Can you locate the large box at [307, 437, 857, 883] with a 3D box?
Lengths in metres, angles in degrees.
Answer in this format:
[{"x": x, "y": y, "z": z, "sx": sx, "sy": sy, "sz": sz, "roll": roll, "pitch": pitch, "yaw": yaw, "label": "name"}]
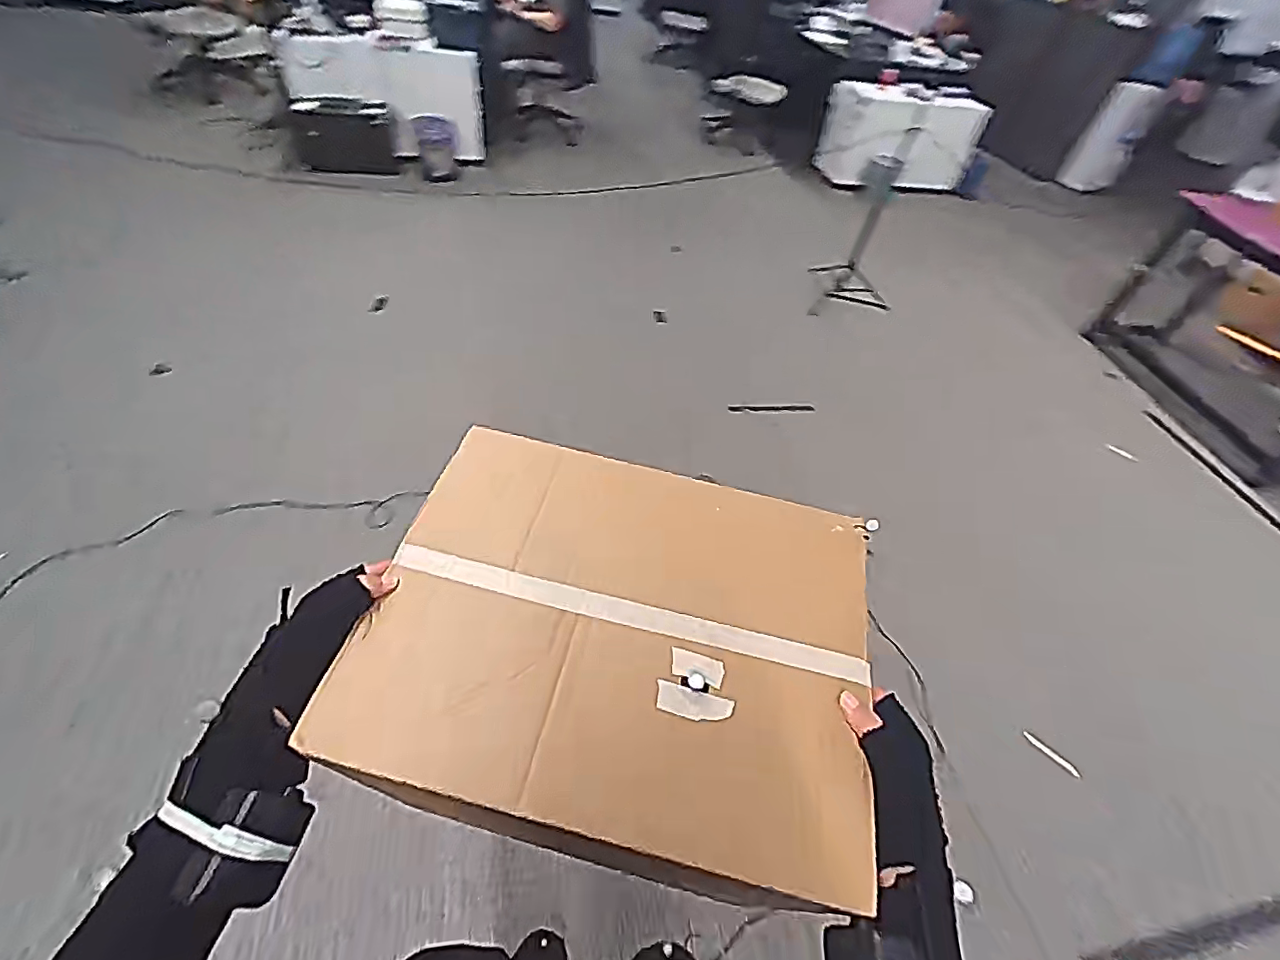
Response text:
[{"x": -0.032, "y": 0.201, "z": 0.582, "sx": 0.408, "sy": 0.320, "sz": 0.320, "roll": 13, "pitch": 54, "yaw": 3, "label": "large box"}]
